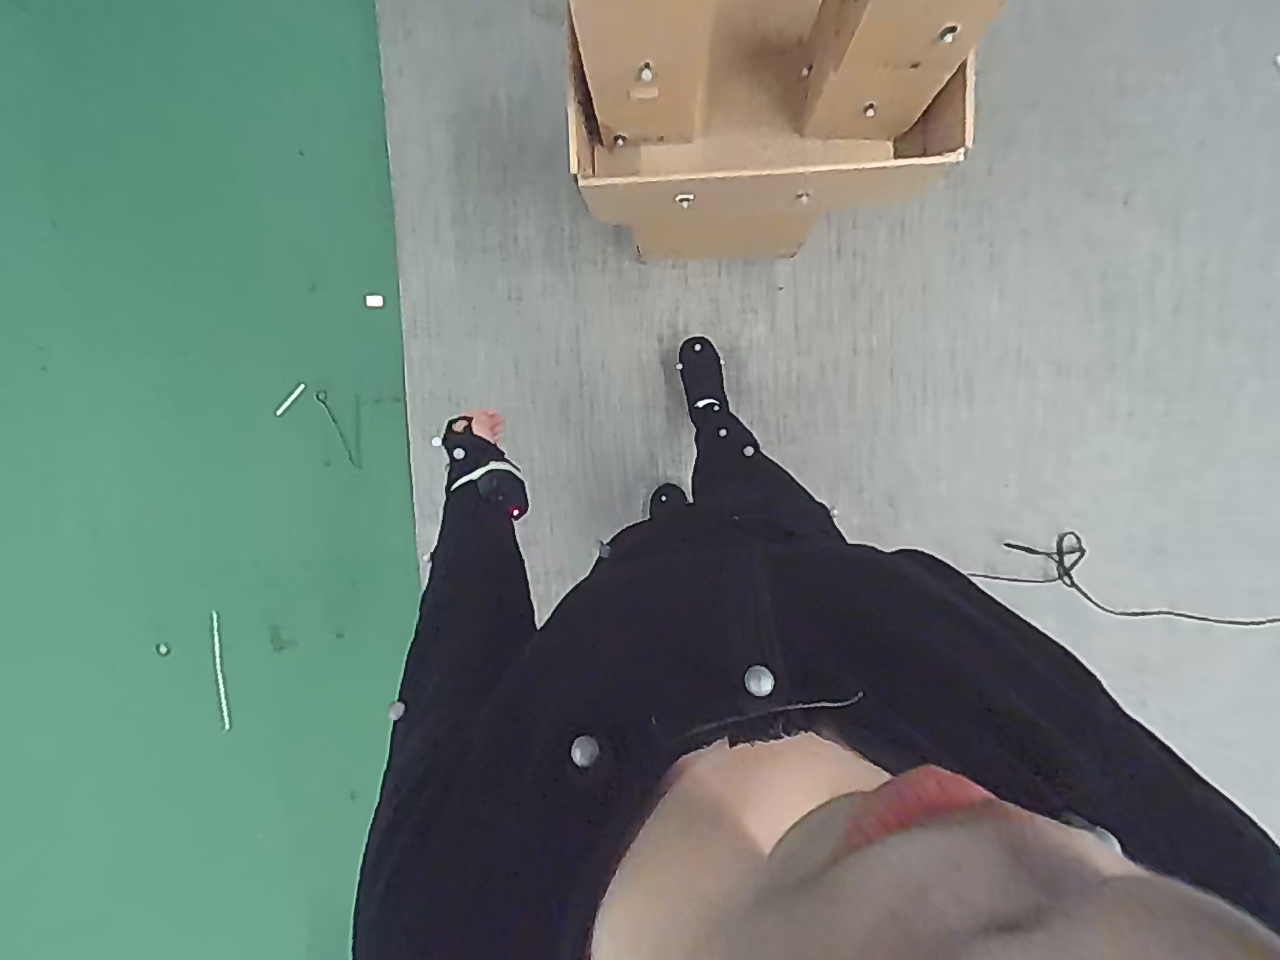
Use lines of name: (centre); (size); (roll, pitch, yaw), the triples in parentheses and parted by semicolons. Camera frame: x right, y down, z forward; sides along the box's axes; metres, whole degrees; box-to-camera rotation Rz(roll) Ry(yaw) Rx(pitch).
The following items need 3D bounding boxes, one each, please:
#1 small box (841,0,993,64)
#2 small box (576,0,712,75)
small box: (0.372, -0.682, 0.699); (0.168, 0.176, 0.179); (5, 93, 2)
small box: (0.006, -0.685, 0.724); (0.179, 0.176, 0.168); (-2, 93, 4)
